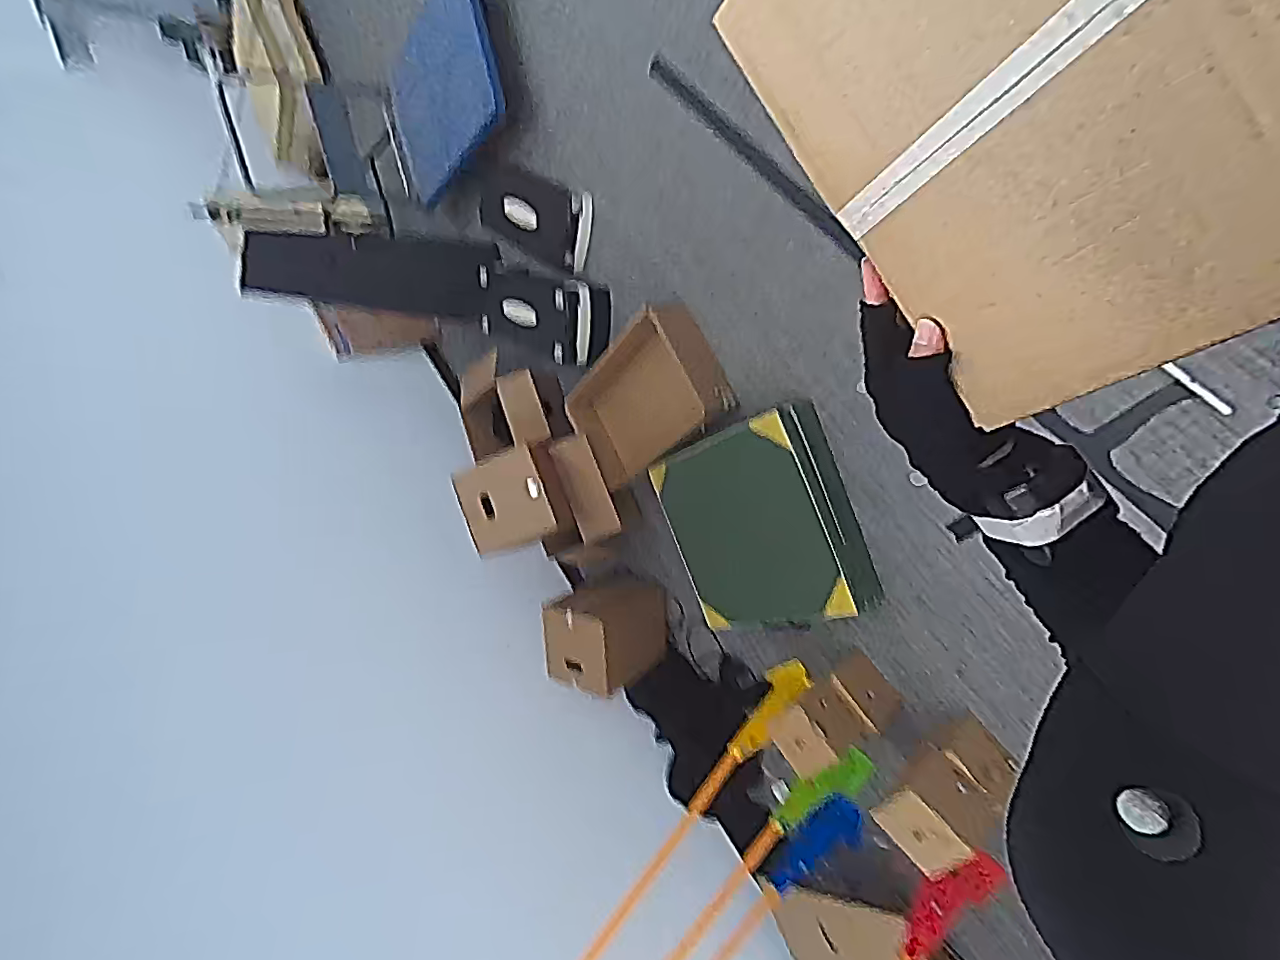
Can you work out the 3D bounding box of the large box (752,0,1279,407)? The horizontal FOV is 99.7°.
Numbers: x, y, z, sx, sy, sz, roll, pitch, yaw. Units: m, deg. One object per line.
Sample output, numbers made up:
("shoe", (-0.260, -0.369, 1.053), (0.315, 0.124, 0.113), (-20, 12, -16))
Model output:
("large box", (0.347, -0.298, 0.277), (0.320, 0.320, 0.408), (57, 143, -2))
